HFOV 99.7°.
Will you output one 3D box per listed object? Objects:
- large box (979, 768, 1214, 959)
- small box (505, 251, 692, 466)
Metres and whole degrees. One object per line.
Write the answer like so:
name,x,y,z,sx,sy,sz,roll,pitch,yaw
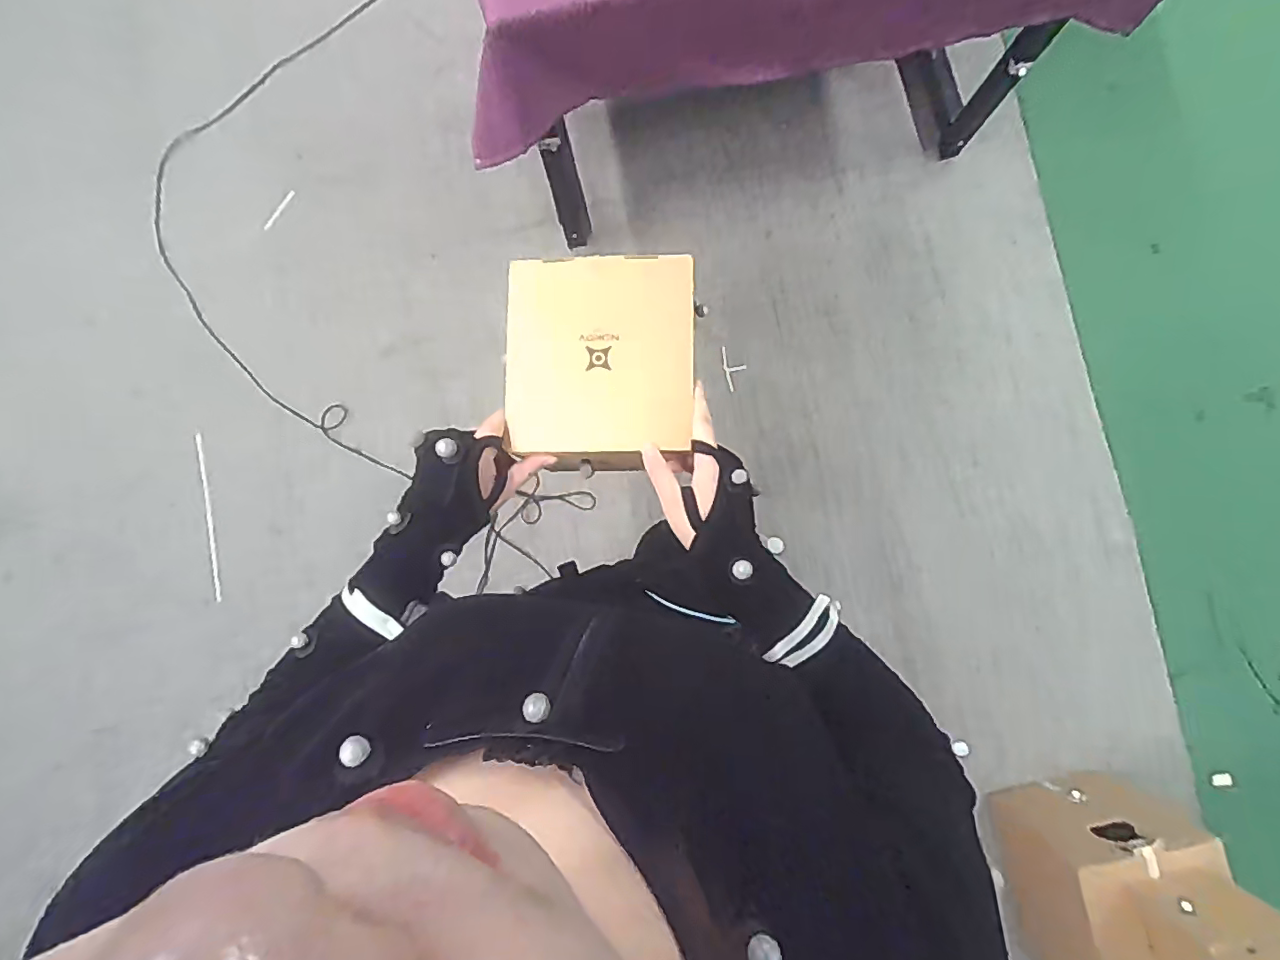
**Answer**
large box,1.085,0.981,1.281,0.320,0.320,0.408,-11,87,0
small box,-0.030,-0.107,0.551,0.168,0.176,0.179,-1,84,4
